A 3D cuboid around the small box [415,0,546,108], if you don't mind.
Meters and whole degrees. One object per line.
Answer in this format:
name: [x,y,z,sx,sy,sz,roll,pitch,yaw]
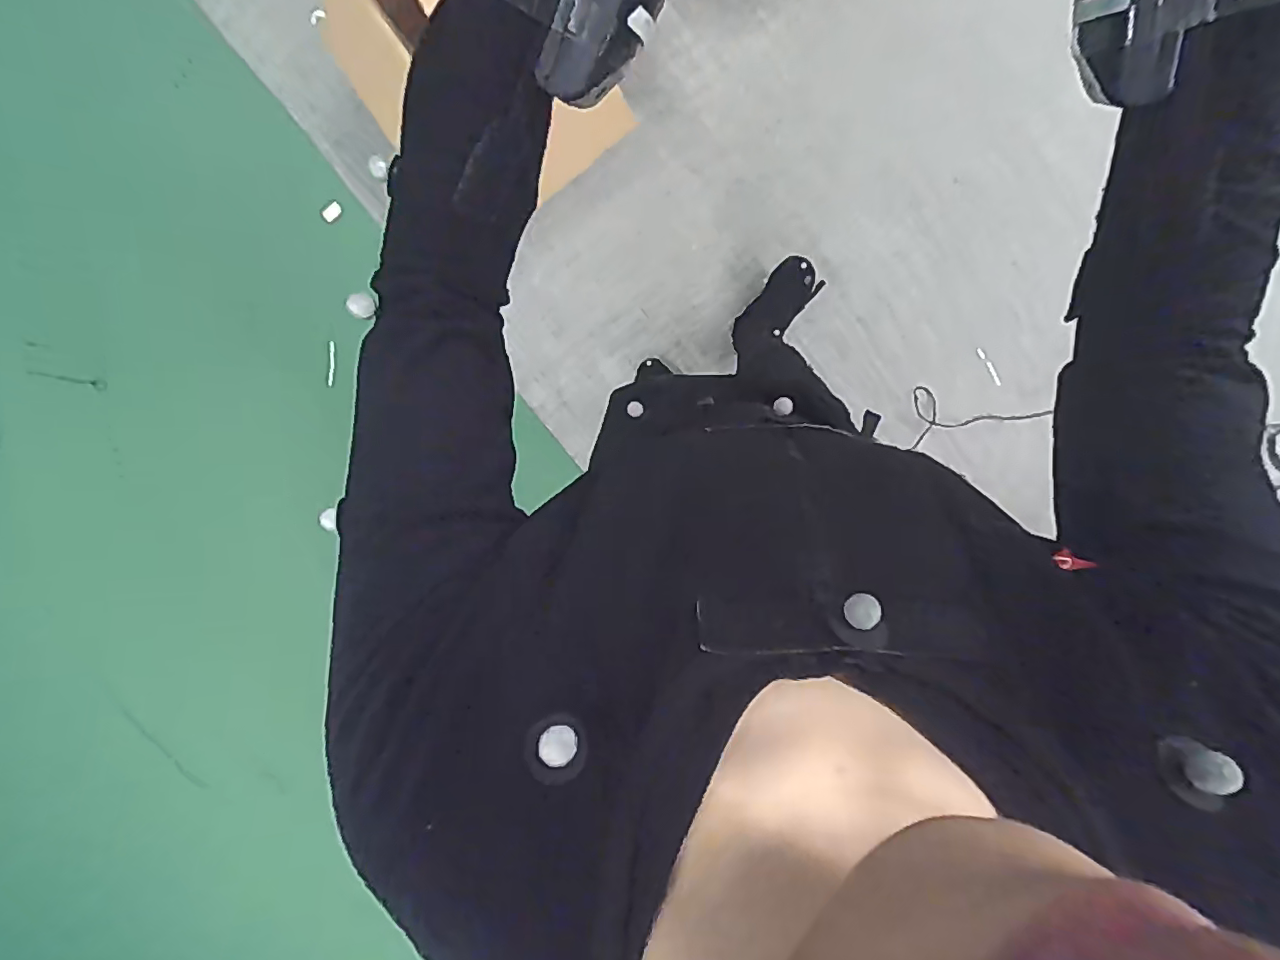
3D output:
small box: [-0.294,-0.861,1.020,0.179,0.176,0.168,-34,99,8]
